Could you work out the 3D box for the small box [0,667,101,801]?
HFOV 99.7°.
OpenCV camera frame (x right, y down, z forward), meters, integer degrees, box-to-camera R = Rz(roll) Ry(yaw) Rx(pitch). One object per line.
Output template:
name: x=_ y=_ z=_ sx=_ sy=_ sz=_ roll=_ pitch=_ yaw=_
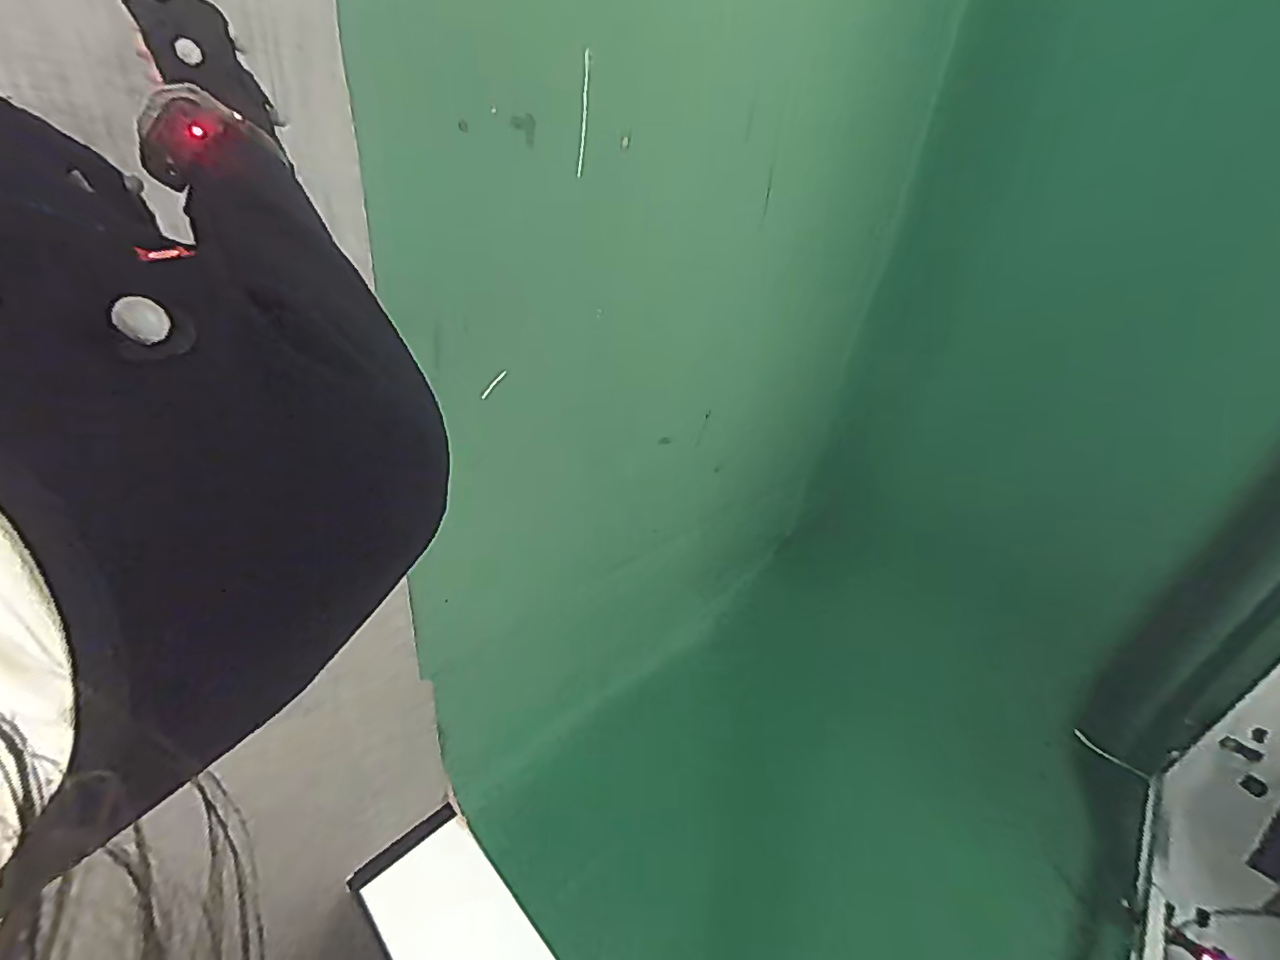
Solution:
small box: x=-1.326 y=0.543 z=1.174 sx=0.179 sy=0.176 sz=0.168 roll=-20 pitch=130 yaw=-42
